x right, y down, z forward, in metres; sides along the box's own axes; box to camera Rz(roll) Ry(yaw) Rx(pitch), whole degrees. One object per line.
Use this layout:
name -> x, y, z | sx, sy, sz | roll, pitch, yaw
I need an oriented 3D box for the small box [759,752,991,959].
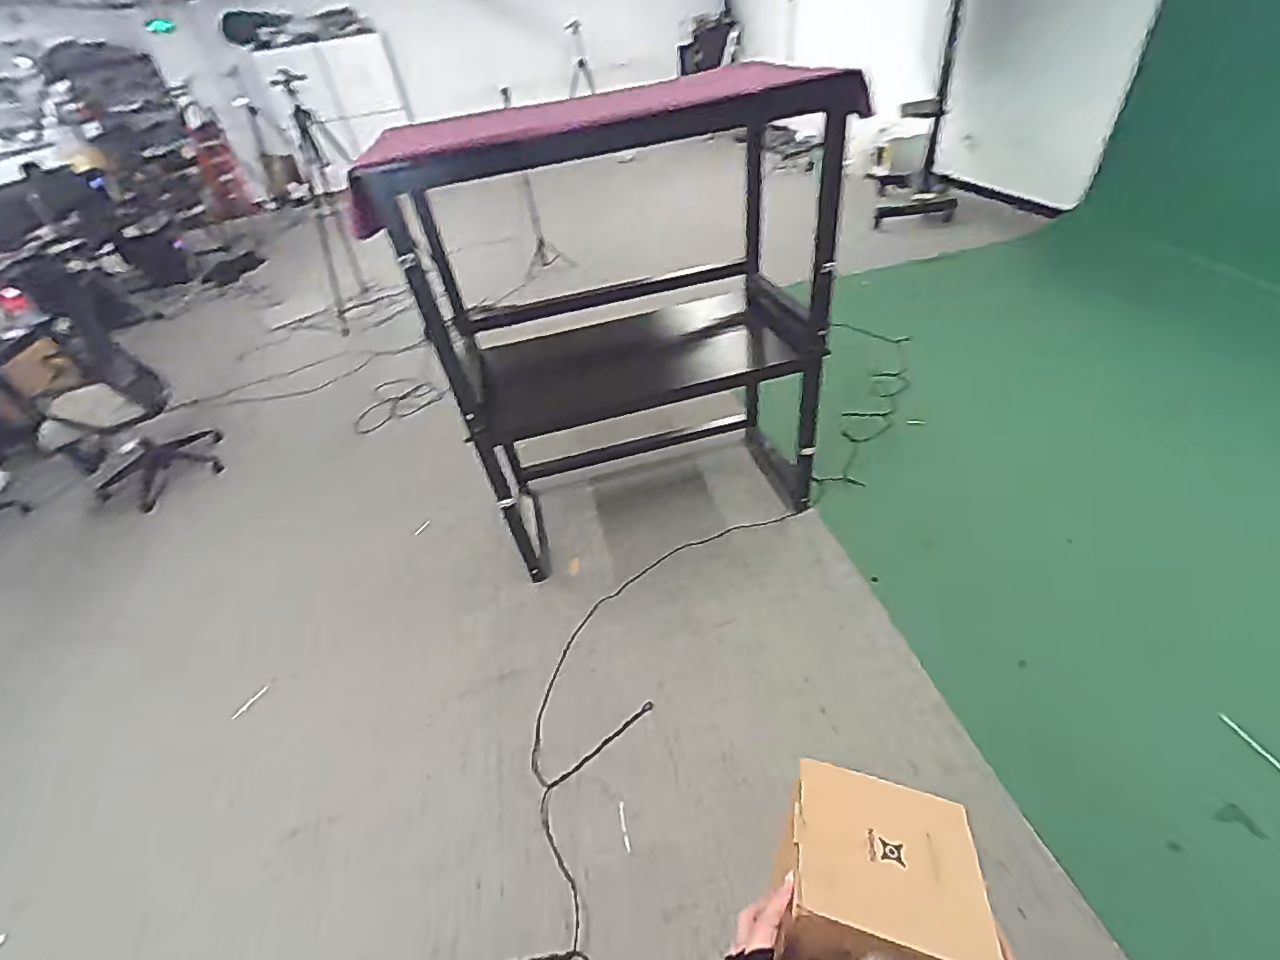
small box -> 0.229, 0.435, 0.570 | 0.179, 0.176, 0.168 | 11, 24, 14
